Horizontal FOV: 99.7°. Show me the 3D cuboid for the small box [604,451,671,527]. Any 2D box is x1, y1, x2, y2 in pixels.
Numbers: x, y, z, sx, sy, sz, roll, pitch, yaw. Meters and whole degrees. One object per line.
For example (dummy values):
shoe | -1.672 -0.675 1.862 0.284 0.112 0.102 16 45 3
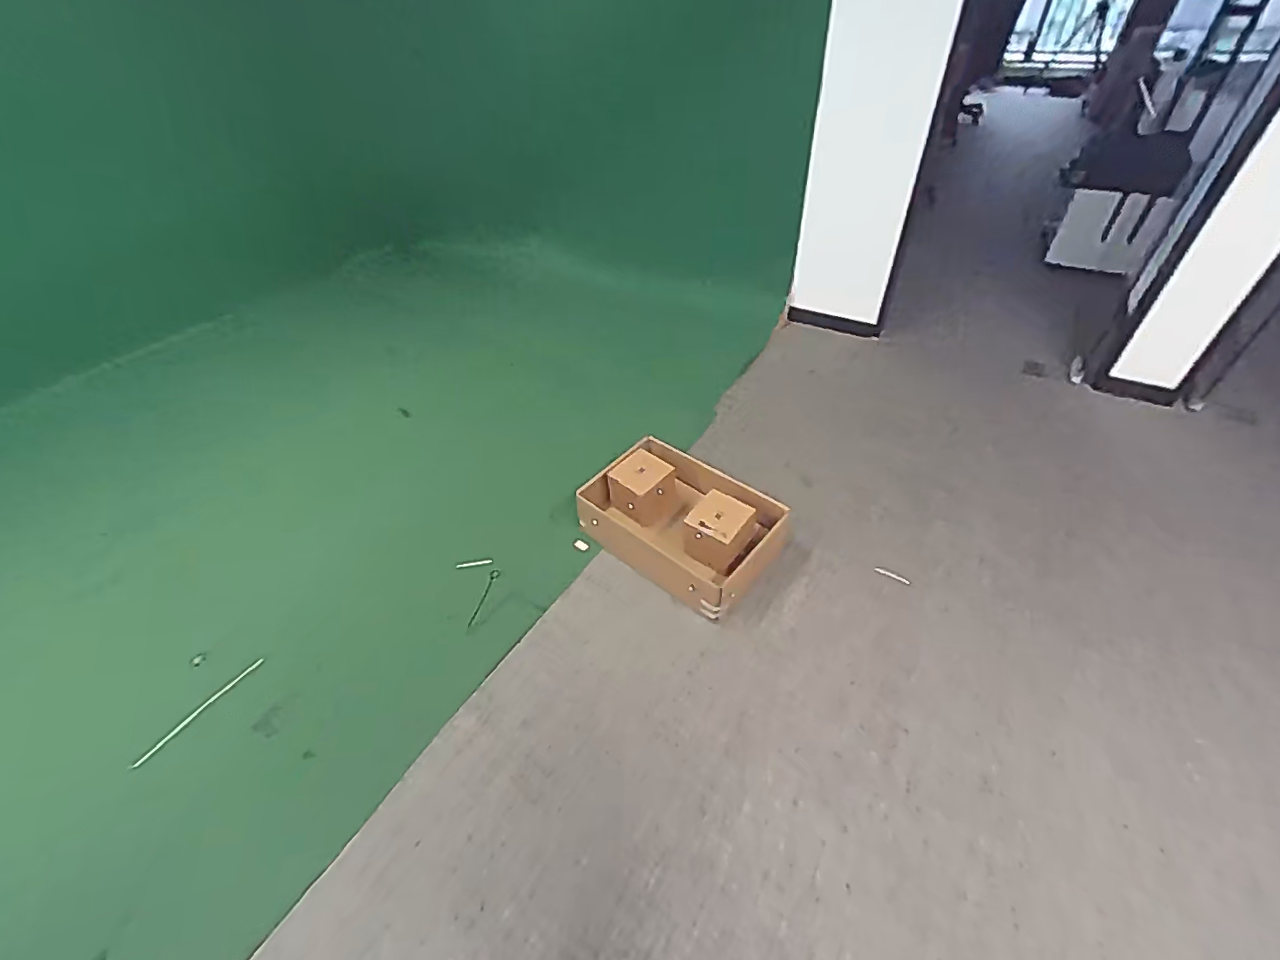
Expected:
small box | -0.004 0.034 1.914 0.168 0.176 0.179 33 55 30
